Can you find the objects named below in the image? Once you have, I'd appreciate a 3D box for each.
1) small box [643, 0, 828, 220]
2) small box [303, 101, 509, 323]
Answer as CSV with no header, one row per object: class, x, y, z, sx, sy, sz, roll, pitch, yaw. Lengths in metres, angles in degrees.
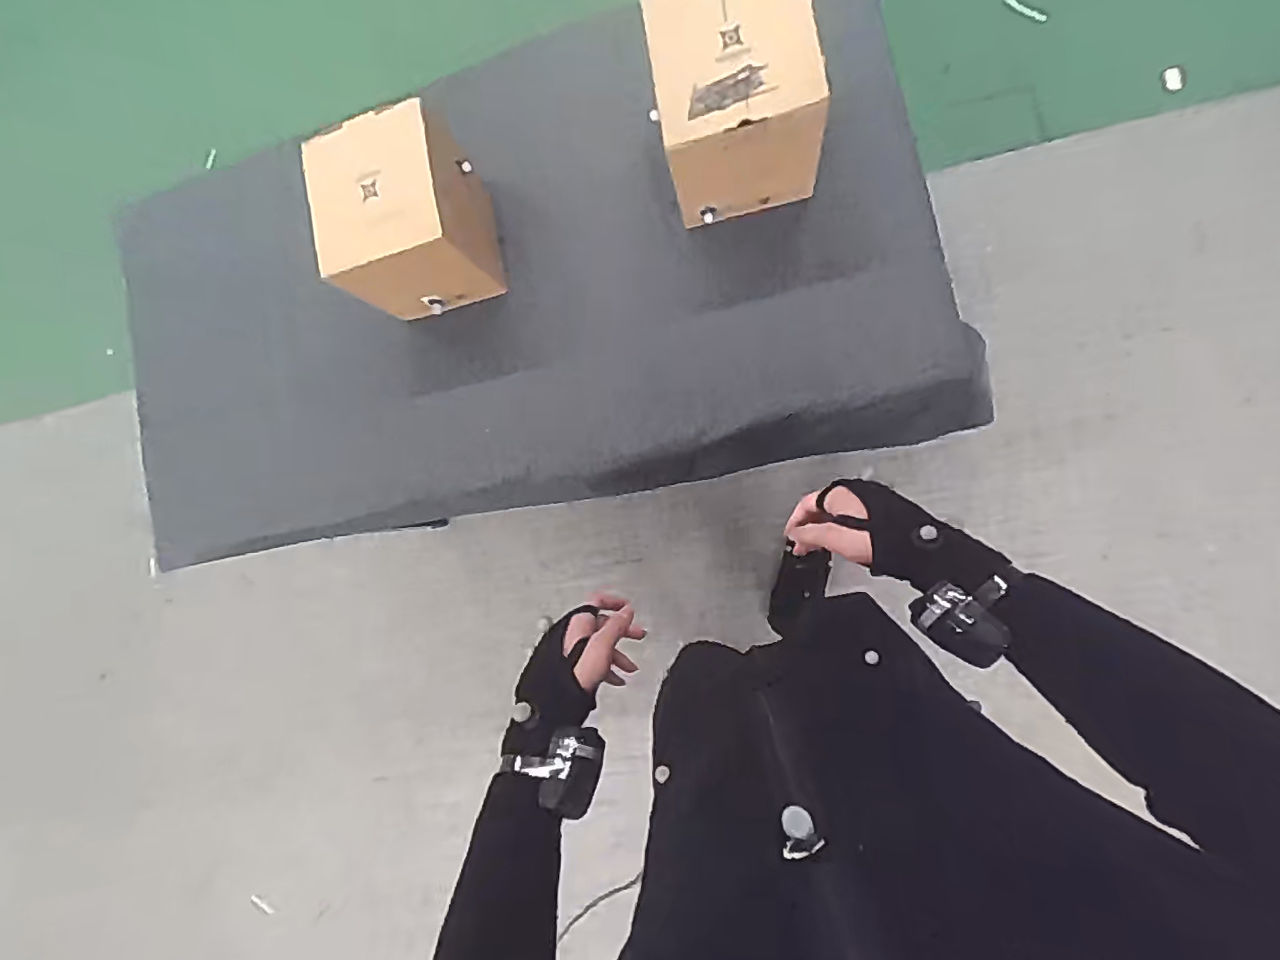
small box,0.110,-0.427,0.622,0.168,0.176,0.179,-10,85,11
small box,-0.291,-0.330,0.703,0.168,0.176,0.179,-13,86,12
